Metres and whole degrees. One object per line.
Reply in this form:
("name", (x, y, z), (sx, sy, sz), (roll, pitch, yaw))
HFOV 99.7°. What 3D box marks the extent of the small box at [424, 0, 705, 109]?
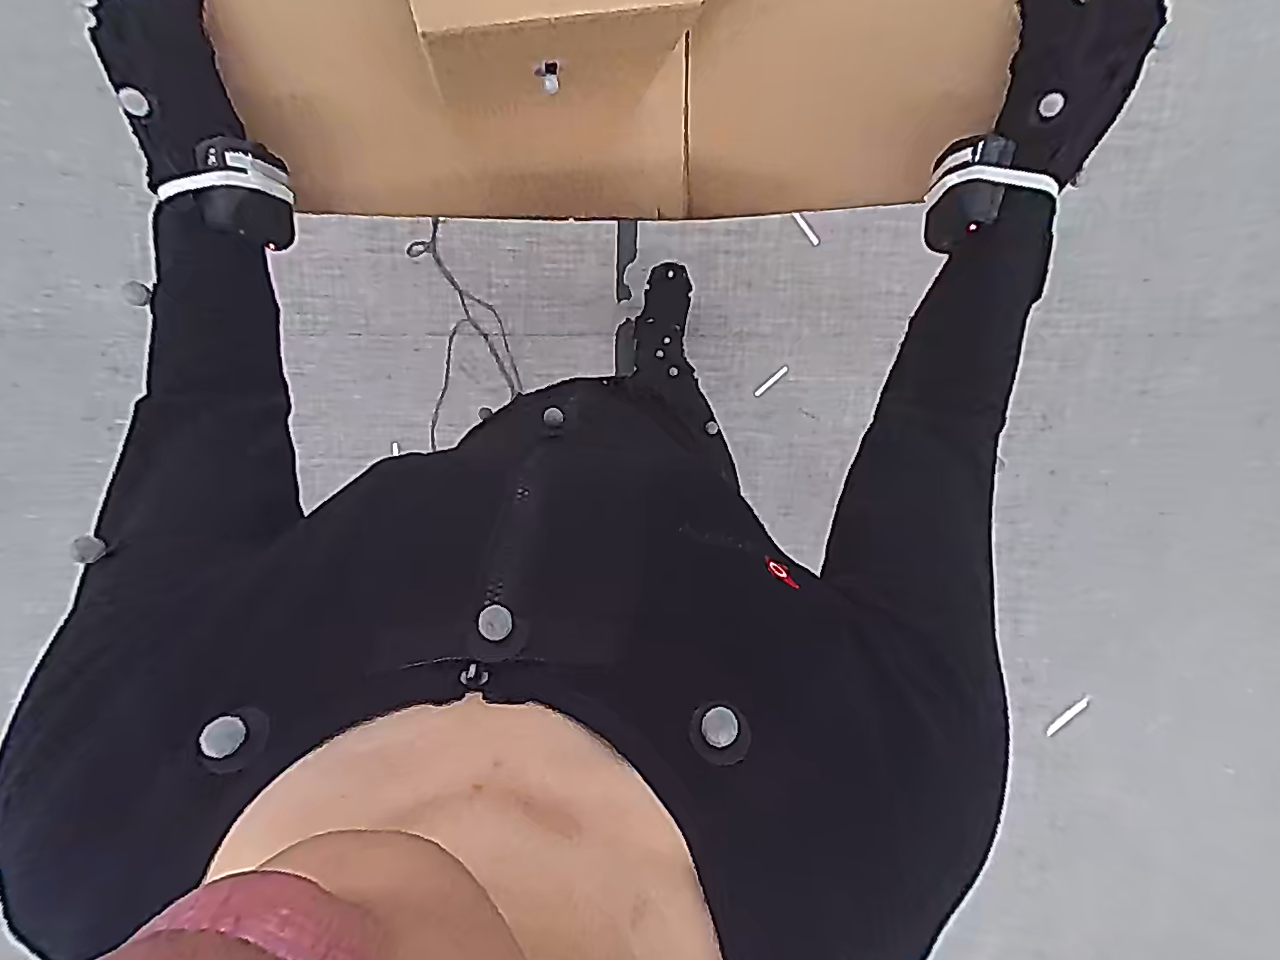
("small box", (-0.070, -0.384, 0.374), (0.179, 0.176, 0.168), (-14, 111, -8))
